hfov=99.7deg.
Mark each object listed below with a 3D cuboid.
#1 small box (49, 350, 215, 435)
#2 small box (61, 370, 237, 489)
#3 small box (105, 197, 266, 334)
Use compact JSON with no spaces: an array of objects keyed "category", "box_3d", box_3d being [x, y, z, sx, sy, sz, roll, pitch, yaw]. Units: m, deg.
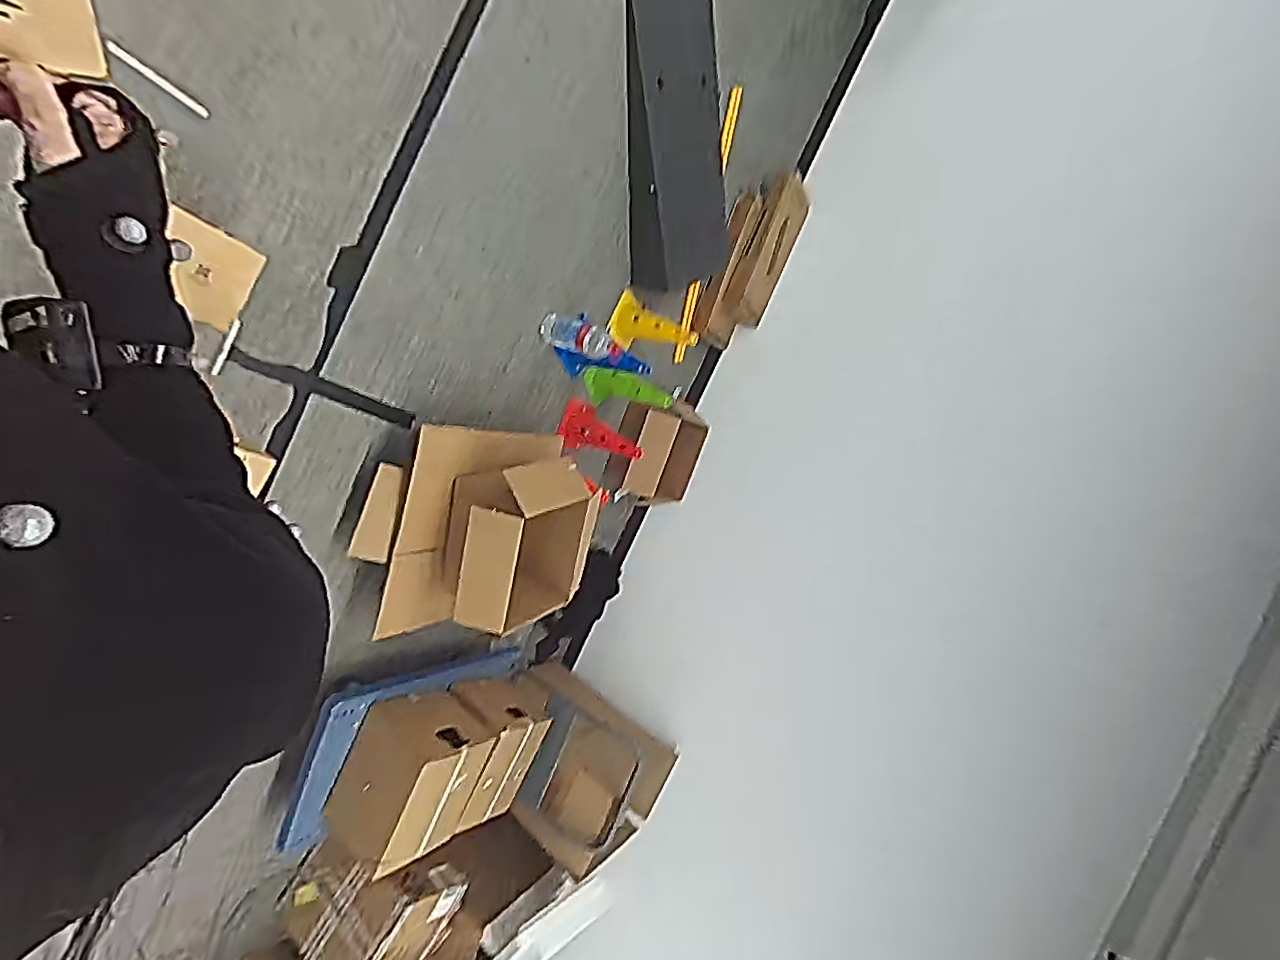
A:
[{"category":"small box","box_3d":[-1.007,-0.141,1.072,0.168,0.176,0.179,-64,152,1]},{"category":"small box","box_3d":[-0.887,-0.076,0.977,0.179,0.176,0.168,-62,151,-1]},{"category":"small box","box_3d":[-0.885,-0.418,1.052,0.179,0.176,0.168,-63,151,0]}]
